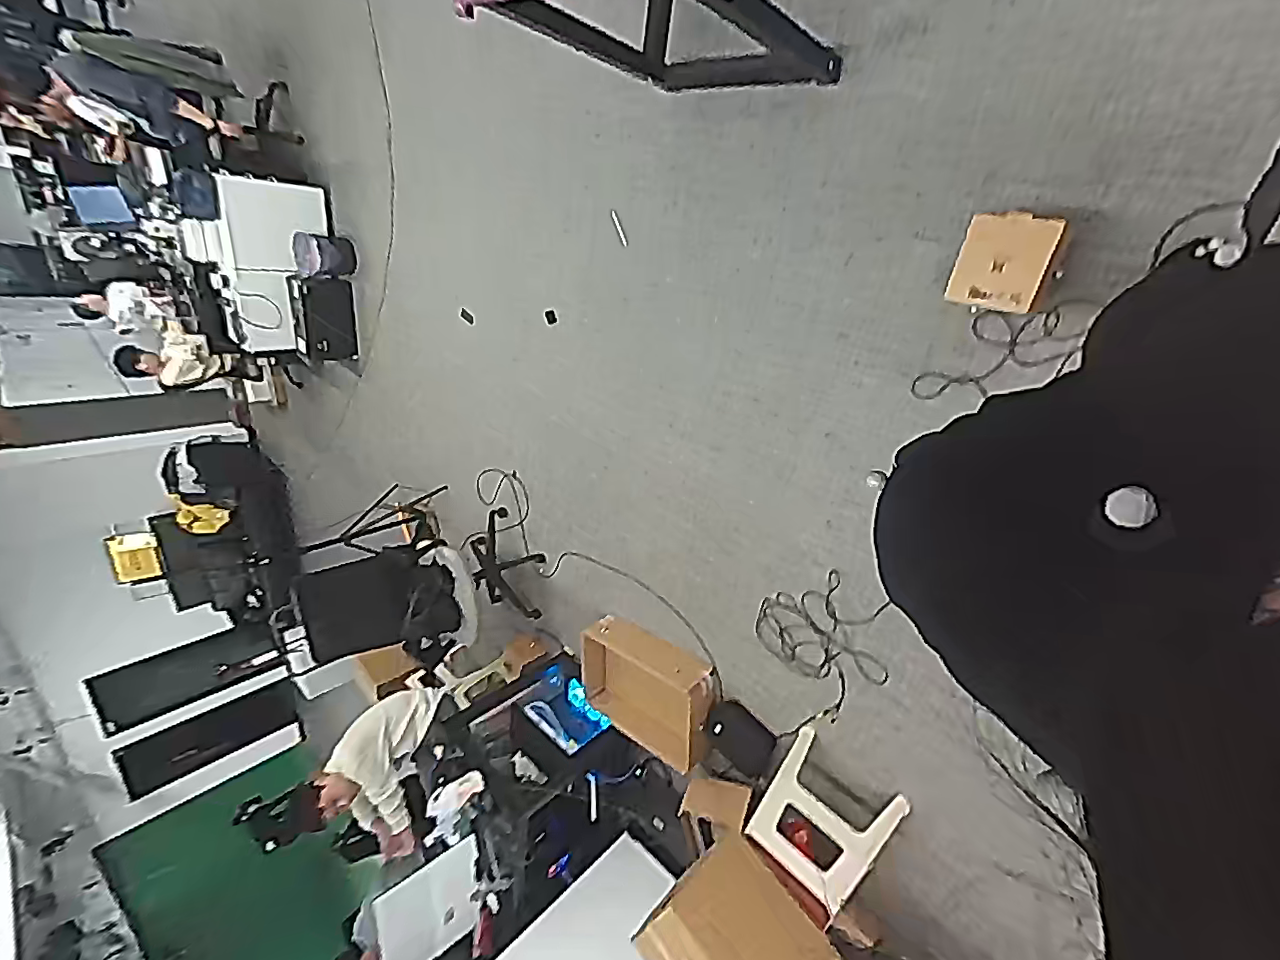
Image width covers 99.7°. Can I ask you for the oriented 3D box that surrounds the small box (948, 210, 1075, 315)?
[{"bbox_3d":[0.792,-0.457,1.150,0.168,0.176,0.179,28,119,35],"label":"small box"}]
